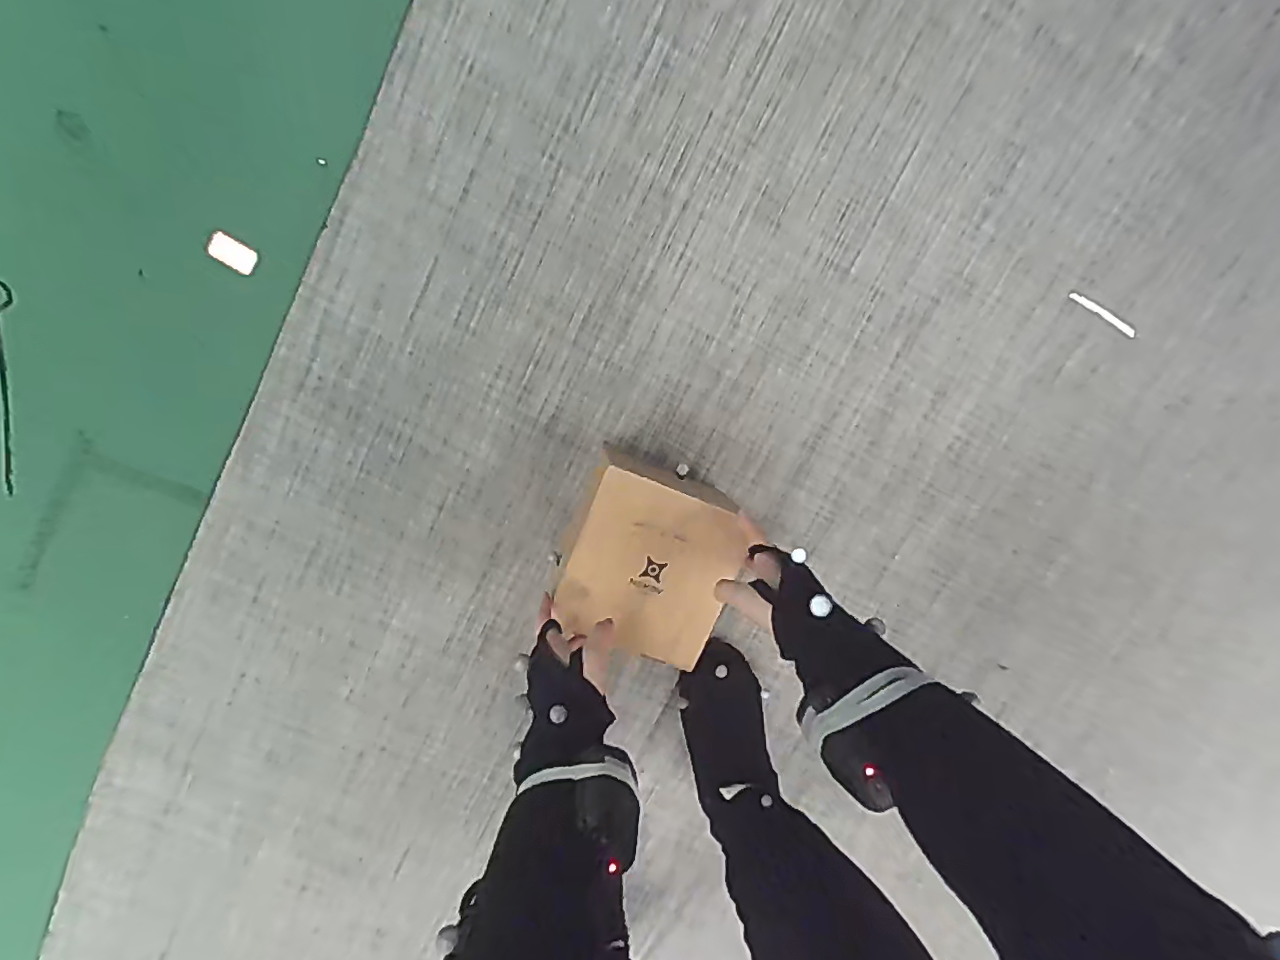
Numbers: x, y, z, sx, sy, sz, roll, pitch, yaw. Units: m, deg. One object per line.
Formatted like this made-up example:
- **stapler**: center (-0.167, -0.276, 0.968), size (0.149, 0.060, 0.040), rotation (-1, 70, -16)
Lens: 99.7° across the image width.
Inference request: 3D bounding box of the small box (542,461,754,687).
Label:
- **small box**: center (0.002, 0.095, 0.619), size (0.168, 0.176, 0.179), rotation (22, 97, -10)
